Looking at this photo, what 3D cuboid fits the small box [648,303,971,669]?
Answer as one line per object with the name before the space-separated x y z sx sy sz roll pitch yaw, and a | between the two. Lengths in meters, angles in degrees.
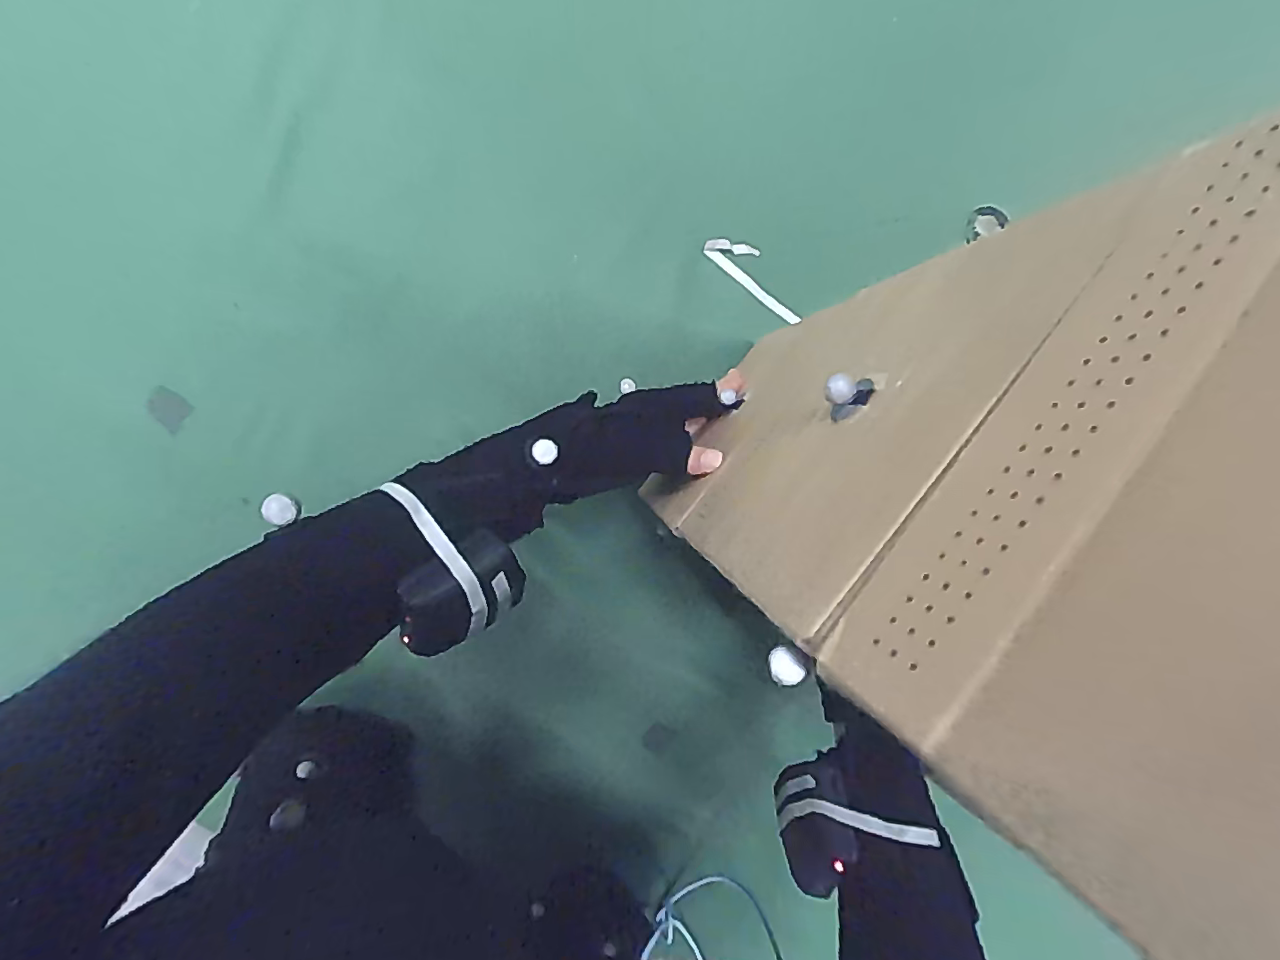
small box | 0.121 0.003 0.412 0.168 0.176 0.179 38 89 -10
